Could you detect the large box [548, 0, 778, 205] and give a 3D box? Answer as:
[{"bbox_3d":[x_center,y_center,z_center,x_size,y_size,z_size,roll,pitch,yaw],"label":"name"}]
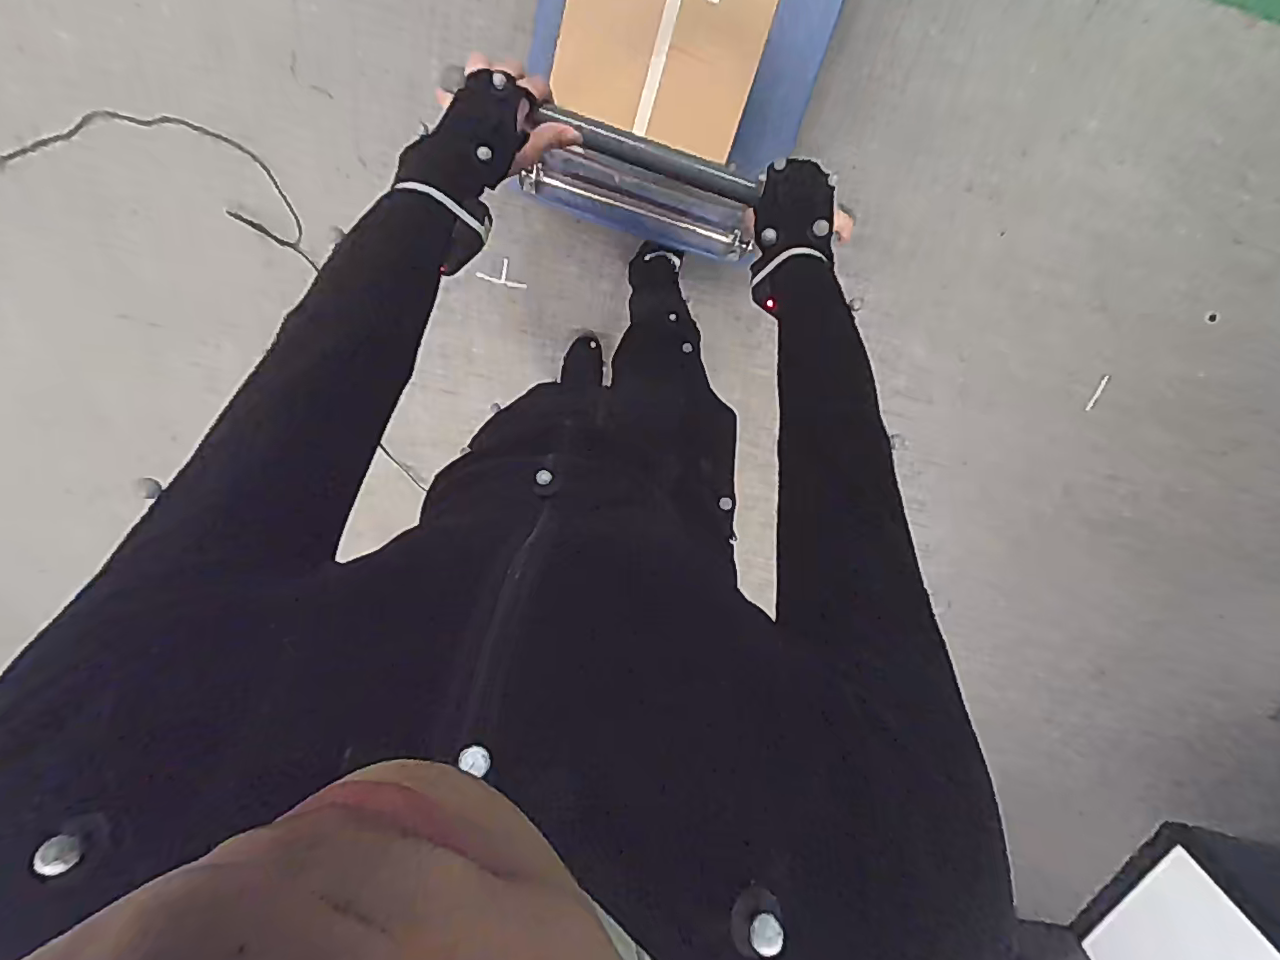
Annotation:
[{"bbox_3d":[0.042,-0.771,0.984,0.320,0.320,0.408,15,111,-8],"label":"large box"}]
